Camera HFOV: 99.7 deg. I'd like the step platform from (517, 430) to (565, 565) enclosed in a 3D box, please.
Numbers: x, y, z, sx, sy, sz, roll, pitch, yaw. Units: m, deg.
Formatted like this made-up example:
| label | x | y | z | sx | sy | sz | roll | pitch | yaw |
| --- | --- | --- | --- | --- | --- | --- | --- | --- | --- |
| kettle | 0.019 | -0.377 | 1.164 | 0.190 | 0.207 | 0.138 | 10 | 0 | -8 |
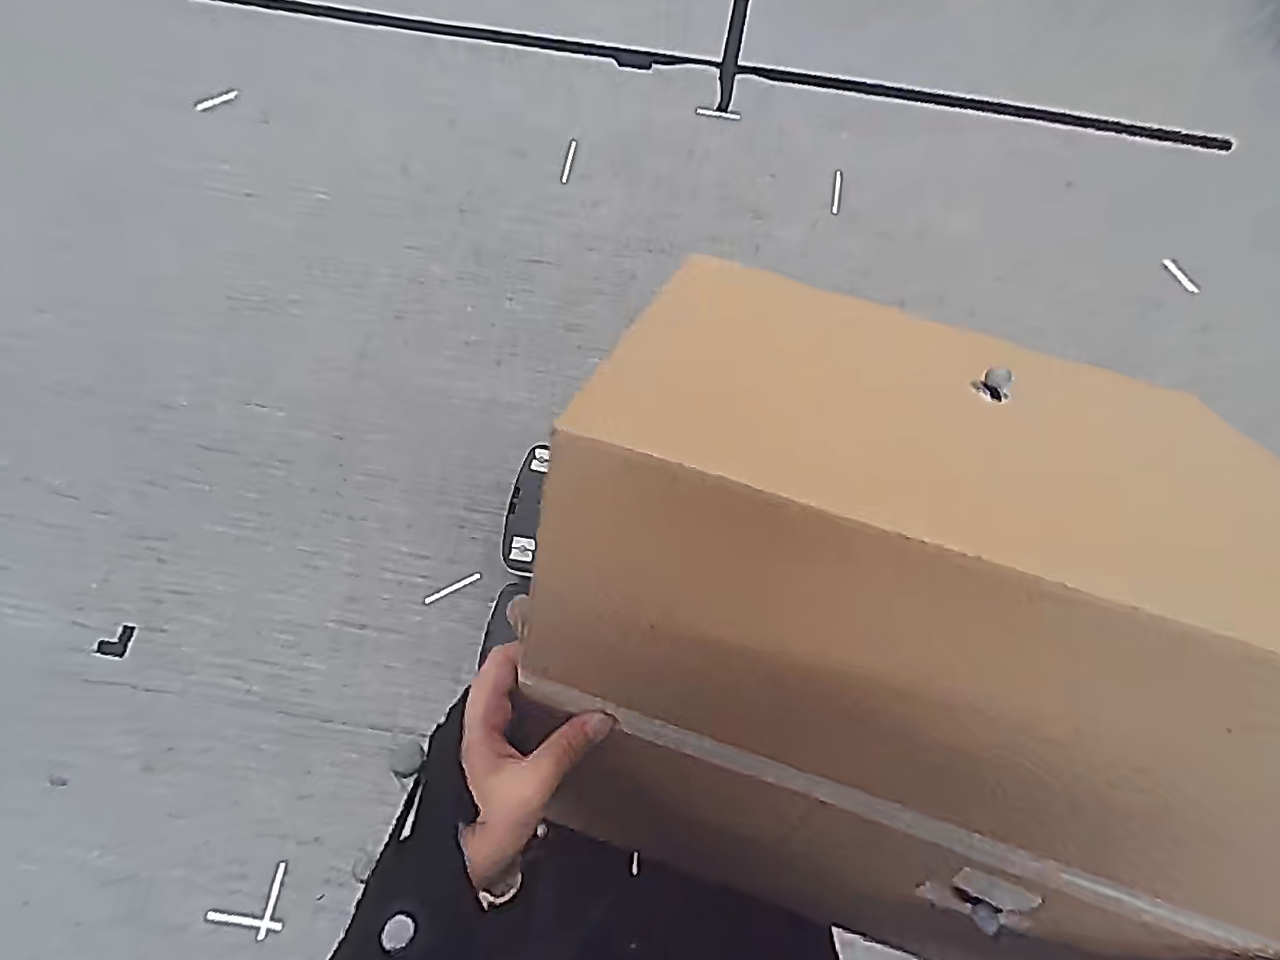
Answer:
| label | x | y | z | sx | sy | sz | roll | pitch | yaw |
| --- | --- | --- | --- | --- | --- | --- | --- | --- | --- |
| step platform | 0.079 | 0.116 | 1.213 | 0.684 | 0.204 | 0.286 | 16 | 75 | 2 |
